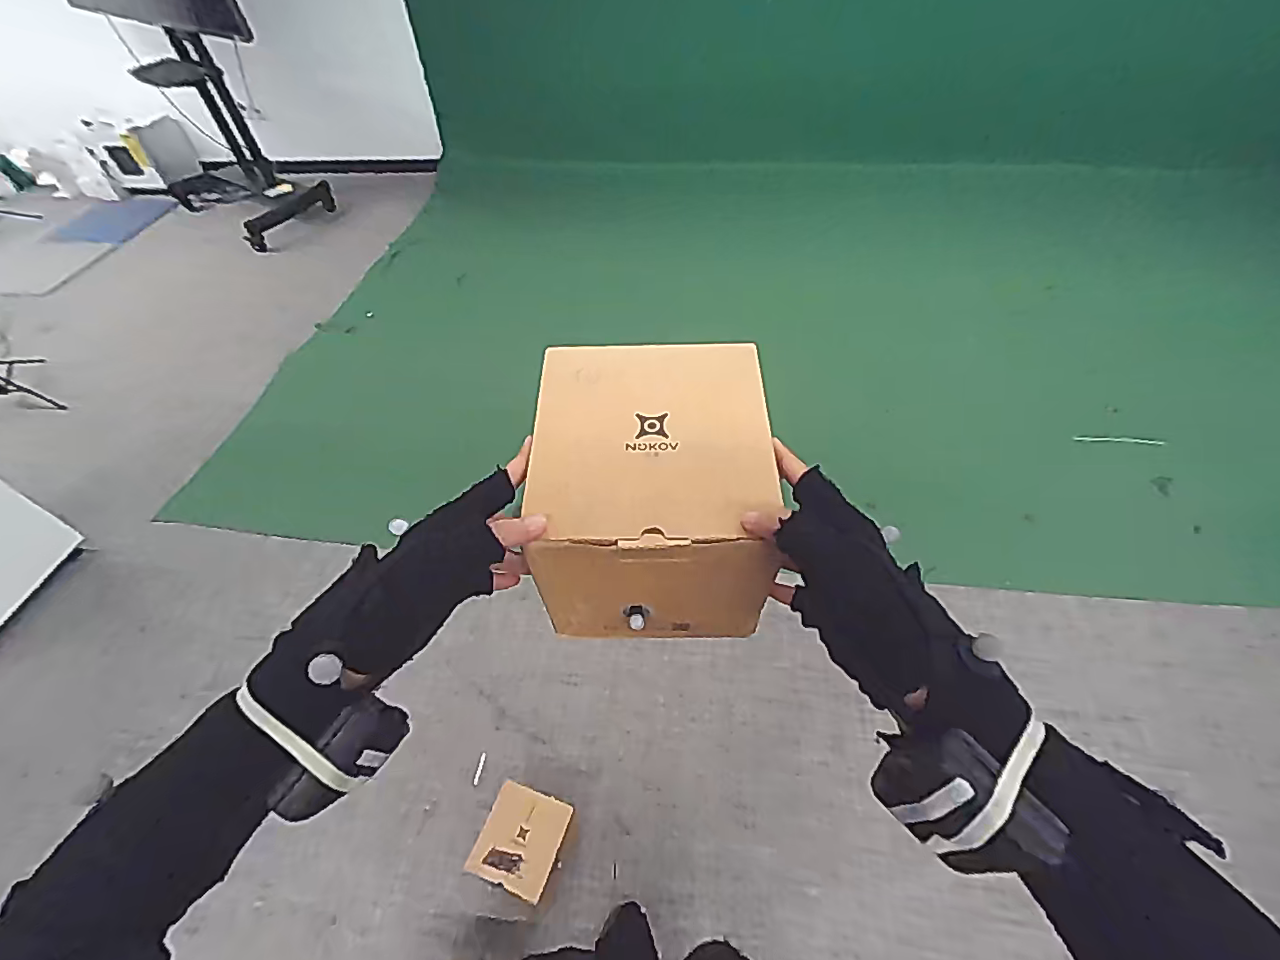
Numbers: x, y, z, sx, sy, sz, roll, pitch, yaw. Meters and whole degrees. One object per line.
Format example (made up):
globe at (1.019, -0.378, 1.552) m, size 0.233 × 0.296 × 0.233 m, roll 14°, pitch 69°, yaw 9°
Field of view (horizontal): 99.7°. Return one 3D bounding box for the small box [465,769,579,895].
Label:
small box at (-0.243, 0.765, 1.169) m, size 0.168 × 0.176 × 0.179 m, roll 15°, pitch 51°, yaw 14°
